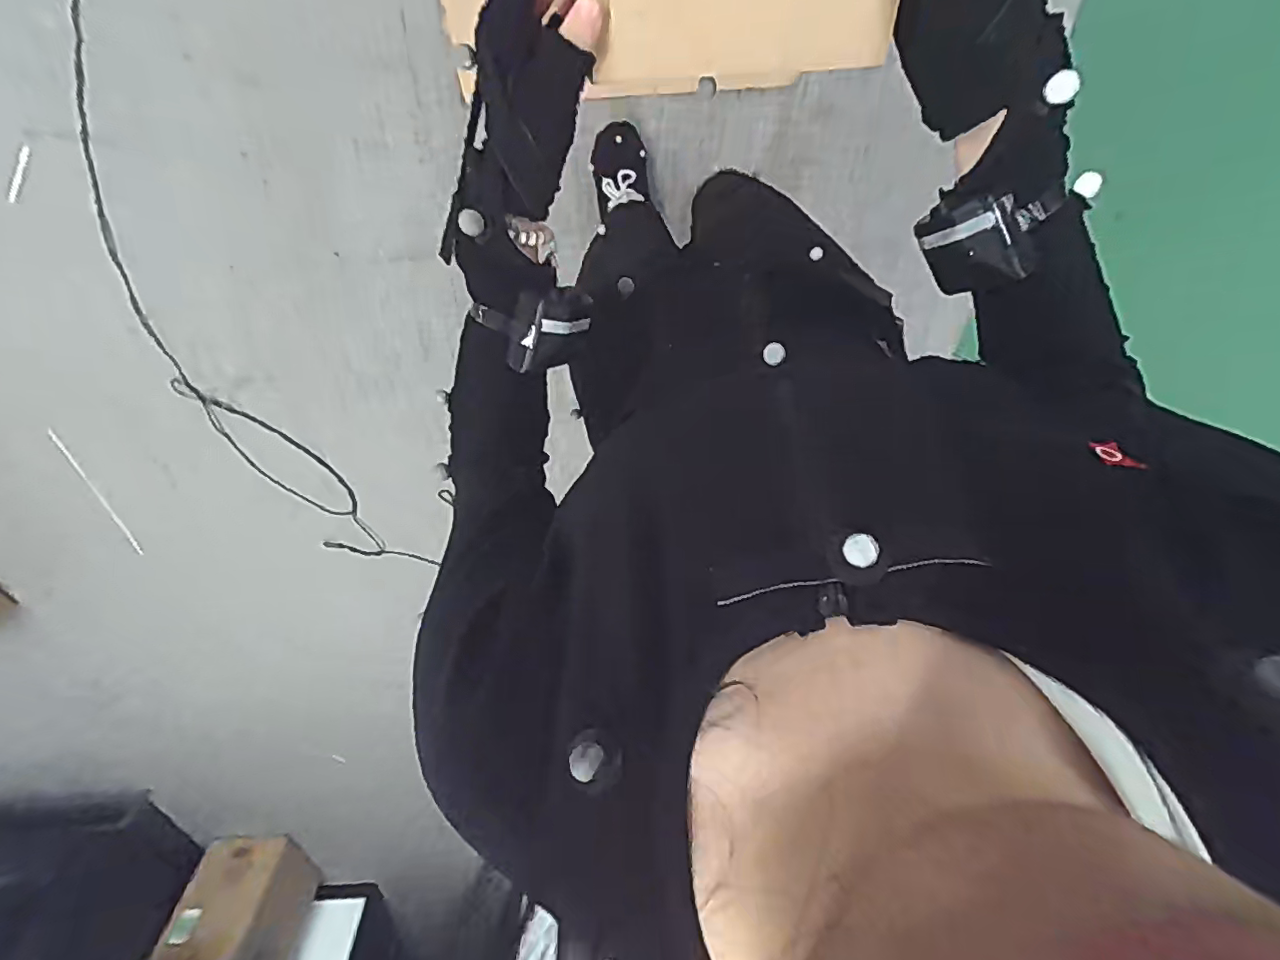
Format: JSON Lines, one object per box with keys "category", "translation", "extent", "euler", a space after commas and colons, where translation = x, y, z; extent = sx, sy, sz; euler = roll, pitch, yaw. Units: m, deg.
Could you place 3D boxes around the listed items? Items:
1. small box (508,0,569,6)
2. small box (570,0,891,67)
{"category": "small box", "translation": [-0.157, -0.928, 0.911], "extent": [0.168, 0.176, 0.179], "euler": [-8, 125, 3]}
{"category": "small box", "translation": [0.042, -0.350, 0.312], "extent": [0.179, 0.176, 0.168], "euler": [-6, 133, -5]}
